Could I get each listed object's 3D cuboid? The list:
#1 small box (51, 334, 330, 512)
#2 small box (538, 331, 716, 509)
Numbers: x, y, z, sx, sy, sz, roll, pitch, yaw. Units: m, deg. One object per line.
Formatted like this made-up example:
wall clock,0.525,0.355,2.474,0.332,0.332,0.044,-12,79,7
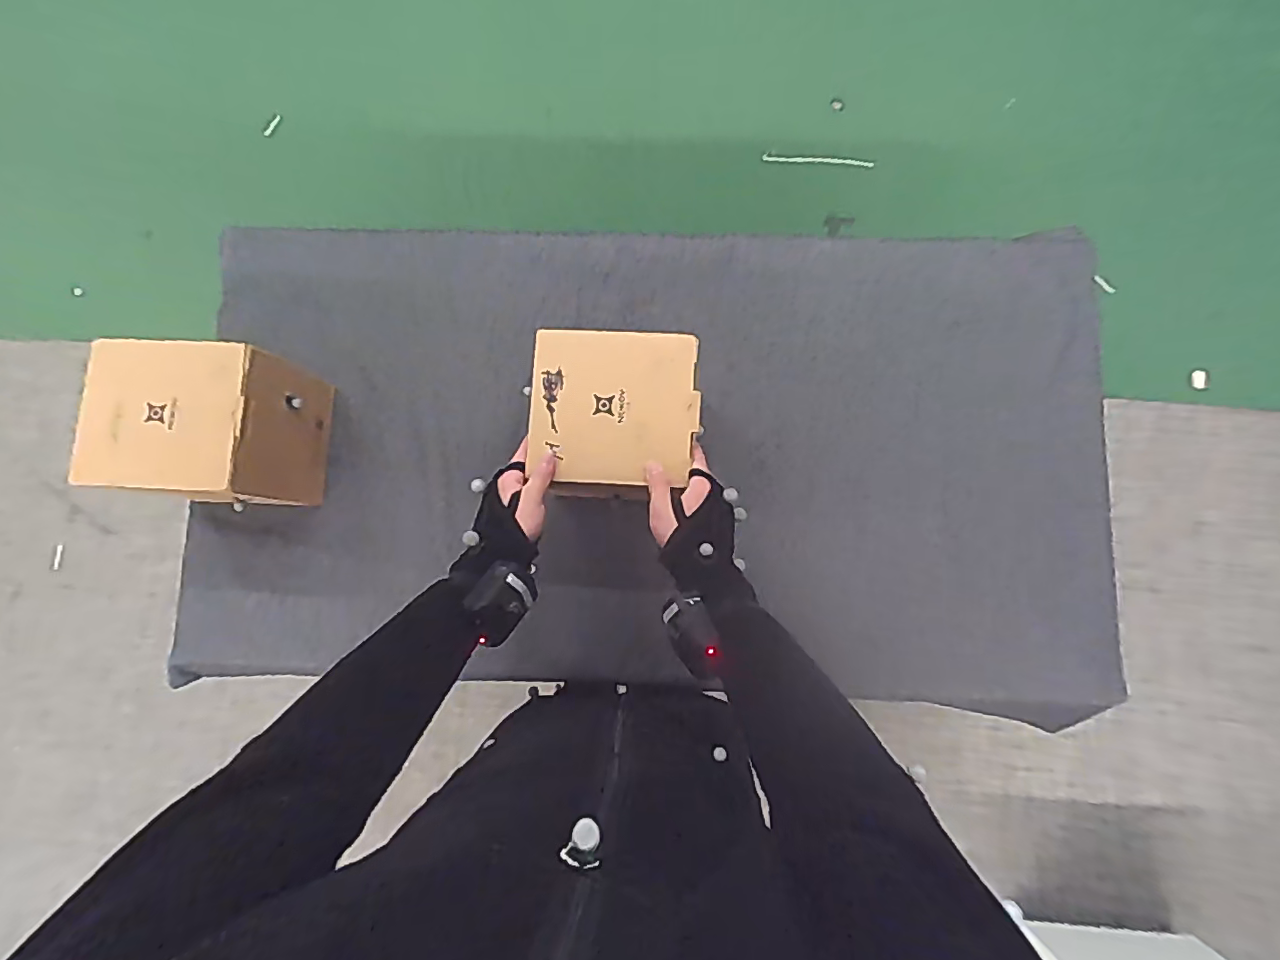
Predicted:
small box,-0.495,-0.055,0.628,0.179,0.176,0.168,2,80,0
small box,-0.014,-0.058,0.636,0.179,0.176,0.168,4,81,-1
